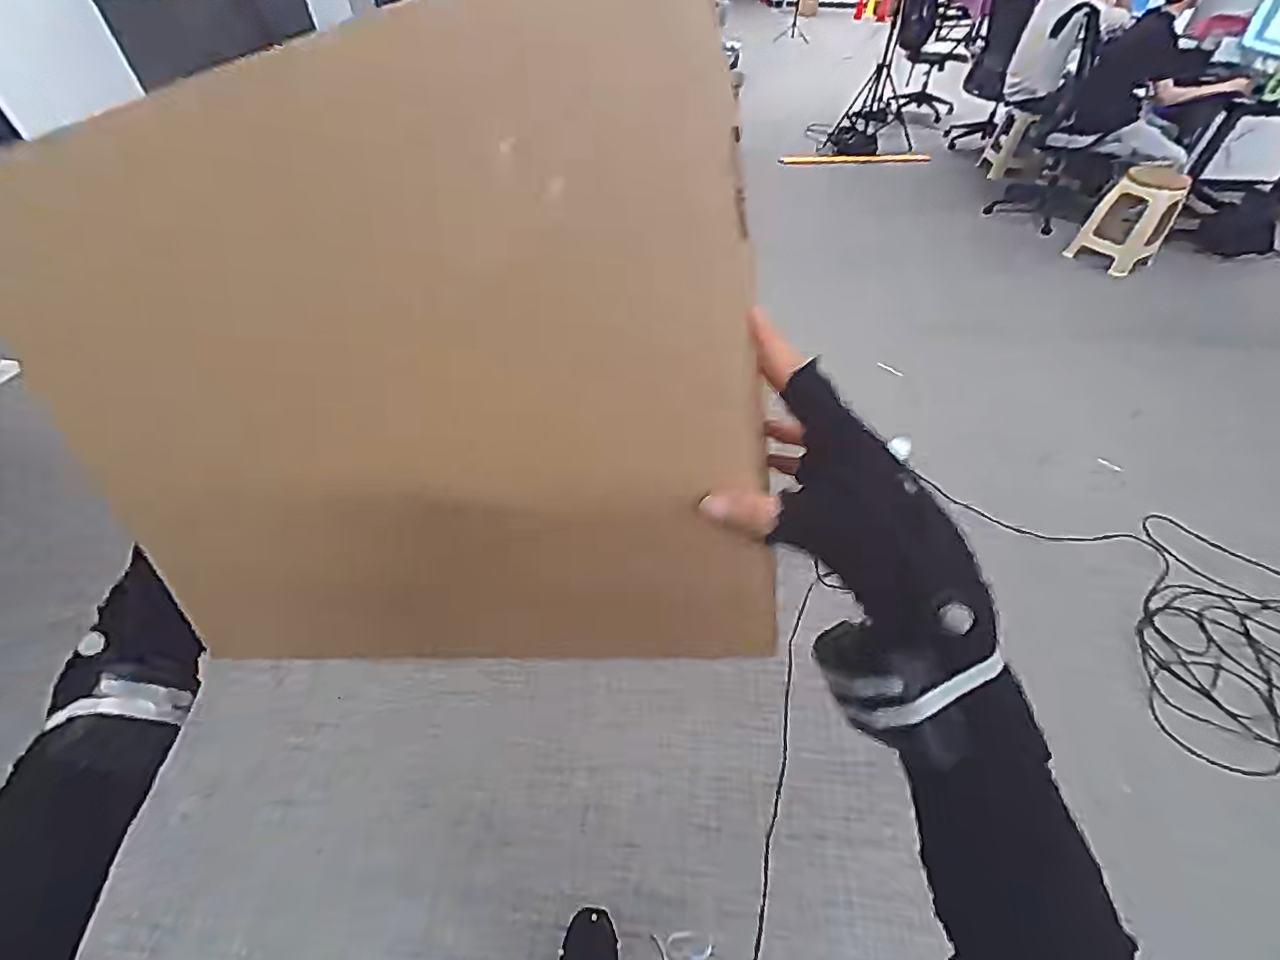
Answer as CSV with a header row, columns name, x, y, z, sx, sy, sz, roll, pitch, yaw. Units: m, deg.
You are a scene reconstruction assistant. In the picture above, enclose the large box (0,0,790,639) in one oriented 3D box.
name,x,y,z,sx,sy,sz,roll,pitch,yaw
large box,-0.103,-0.094,0.427,0.408,0.320,0.320,-4,24,14
